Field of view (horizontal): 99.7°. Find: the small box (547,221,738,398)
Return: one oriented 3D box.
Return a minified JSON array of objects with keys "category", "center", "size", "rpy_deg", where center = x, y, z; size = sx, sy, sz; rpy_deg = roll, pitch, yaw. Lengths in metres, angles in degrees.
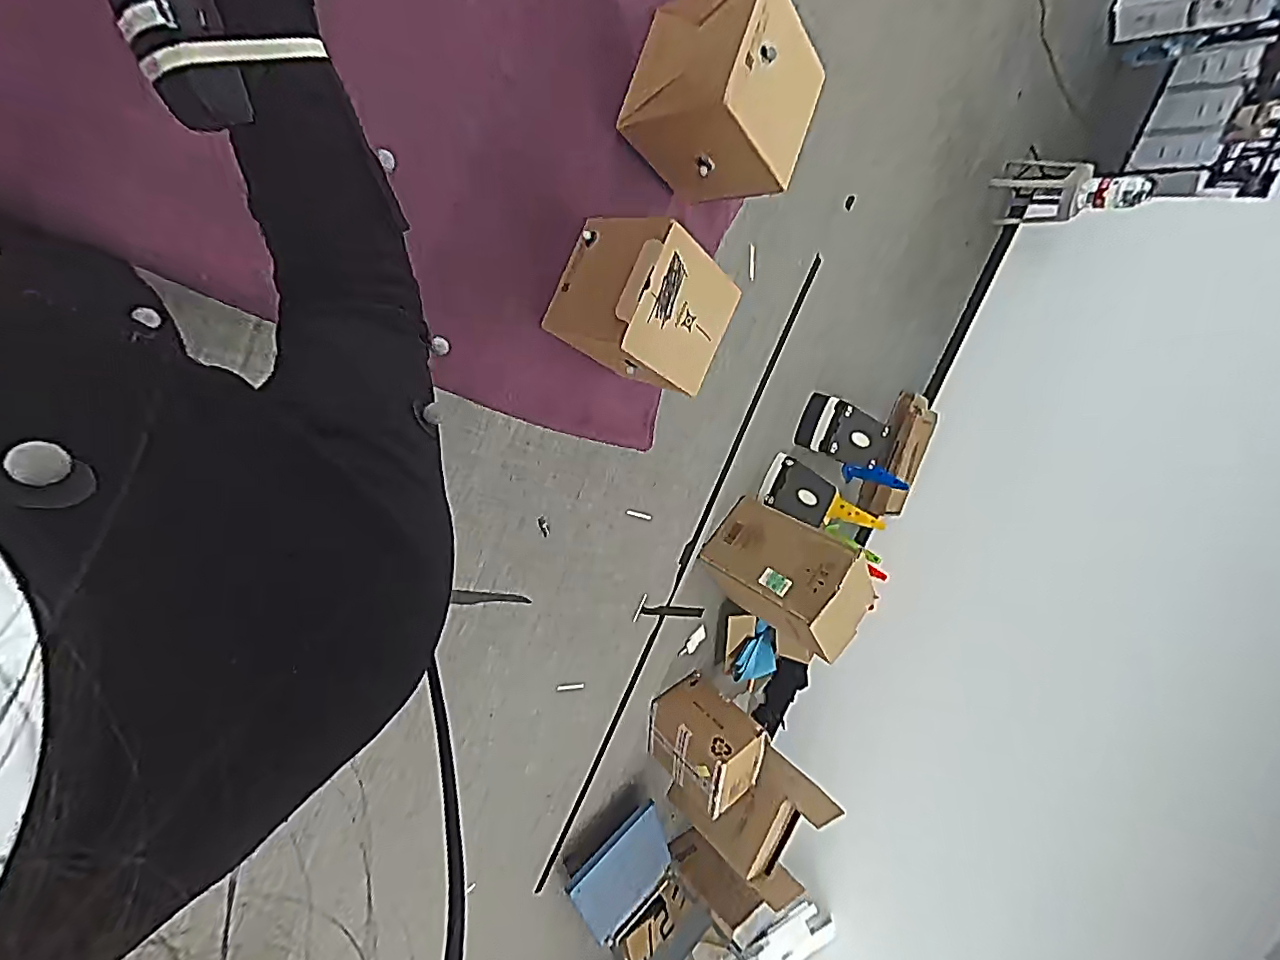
[{"category":"small box","center":[0.000,-0.235,0.757],"size":[0.179,0.176,0.168],"rpy_deg":[22,93,-49]}]
